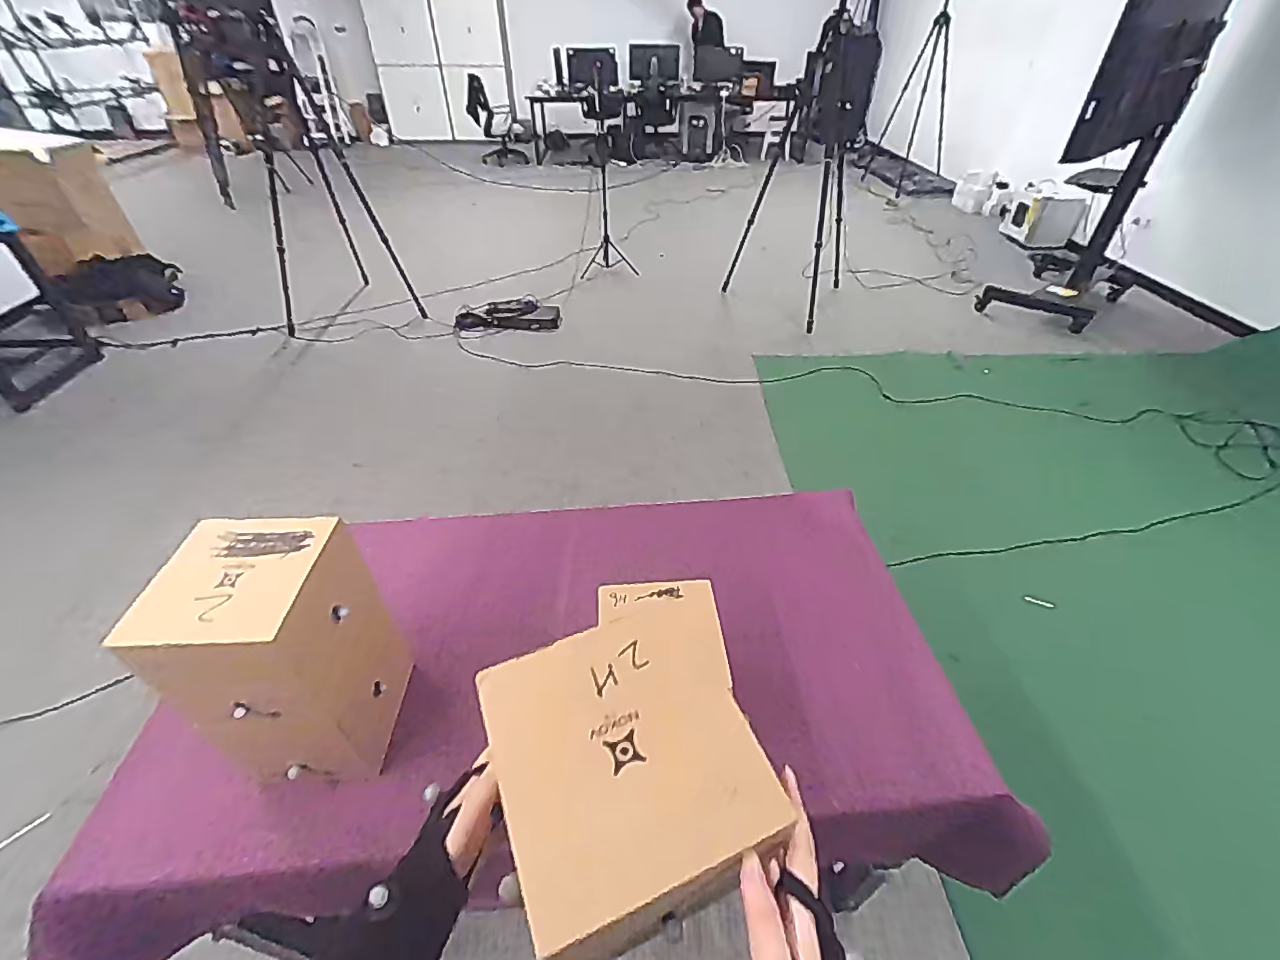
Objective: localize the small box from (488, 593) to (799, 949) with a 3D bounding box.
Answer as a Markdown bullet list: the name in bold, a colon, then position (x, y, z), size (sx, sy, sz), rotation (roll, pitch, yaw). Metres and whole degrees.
- **small box**: position (-0.005, 0.226, 0.423), size (0.168, 0.176, 0.179), rotation (-17, 47, -15)

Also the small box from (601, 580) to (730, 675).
- **small box**: position (0.030, 0.266, 0.771), size (0.168, 0.176, 0.179), rotation (-2, 42, -3)

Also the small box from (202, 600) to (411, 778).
- **small box**: position (-0.436, 0.286, 0.747), size (0.168, 0.176, 0.179), rotation (-1, 42, -2)
